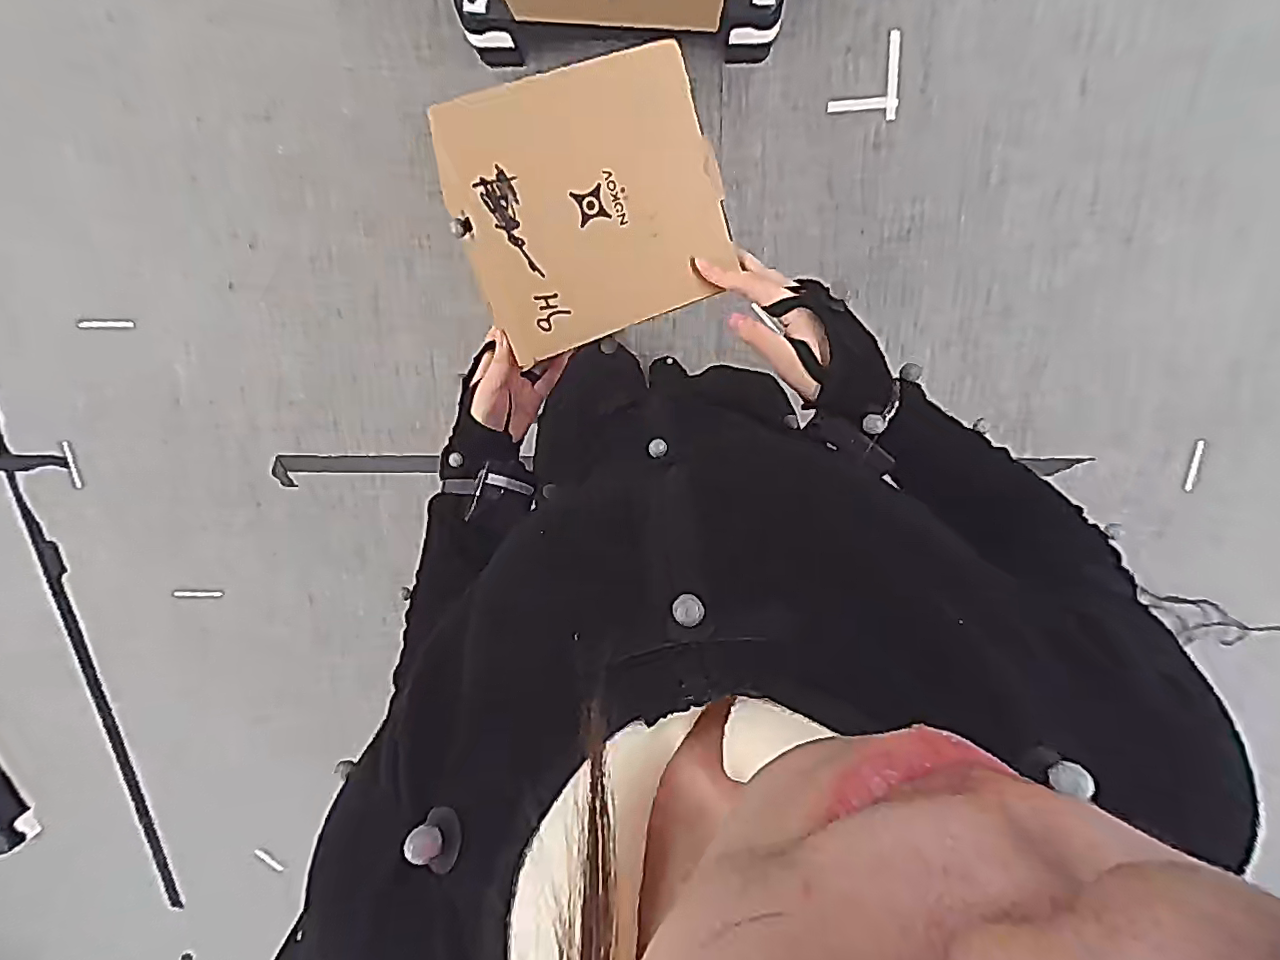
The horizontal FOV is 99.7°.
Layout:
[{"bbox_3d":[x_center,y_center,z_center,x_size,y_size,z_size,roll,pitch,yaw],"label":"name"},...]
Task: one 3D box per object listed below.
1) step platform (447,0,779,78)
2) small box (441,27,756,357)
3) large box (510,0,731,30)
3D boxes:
[{"bbox_3d":[-0.052,-1.046,1.098,0.684,0.204,0.286,6,107,2],"label":"step platform"},{"bbox_3d":[-0.040,-0.205,0.431,0.179,0.176,0.168,-23,105,-12],"label":"small box"},{"bbox_3d":[-0.036,-0.981,0.868,0.408,0.320,0.320,4,106,3],"label":"large box"}]
